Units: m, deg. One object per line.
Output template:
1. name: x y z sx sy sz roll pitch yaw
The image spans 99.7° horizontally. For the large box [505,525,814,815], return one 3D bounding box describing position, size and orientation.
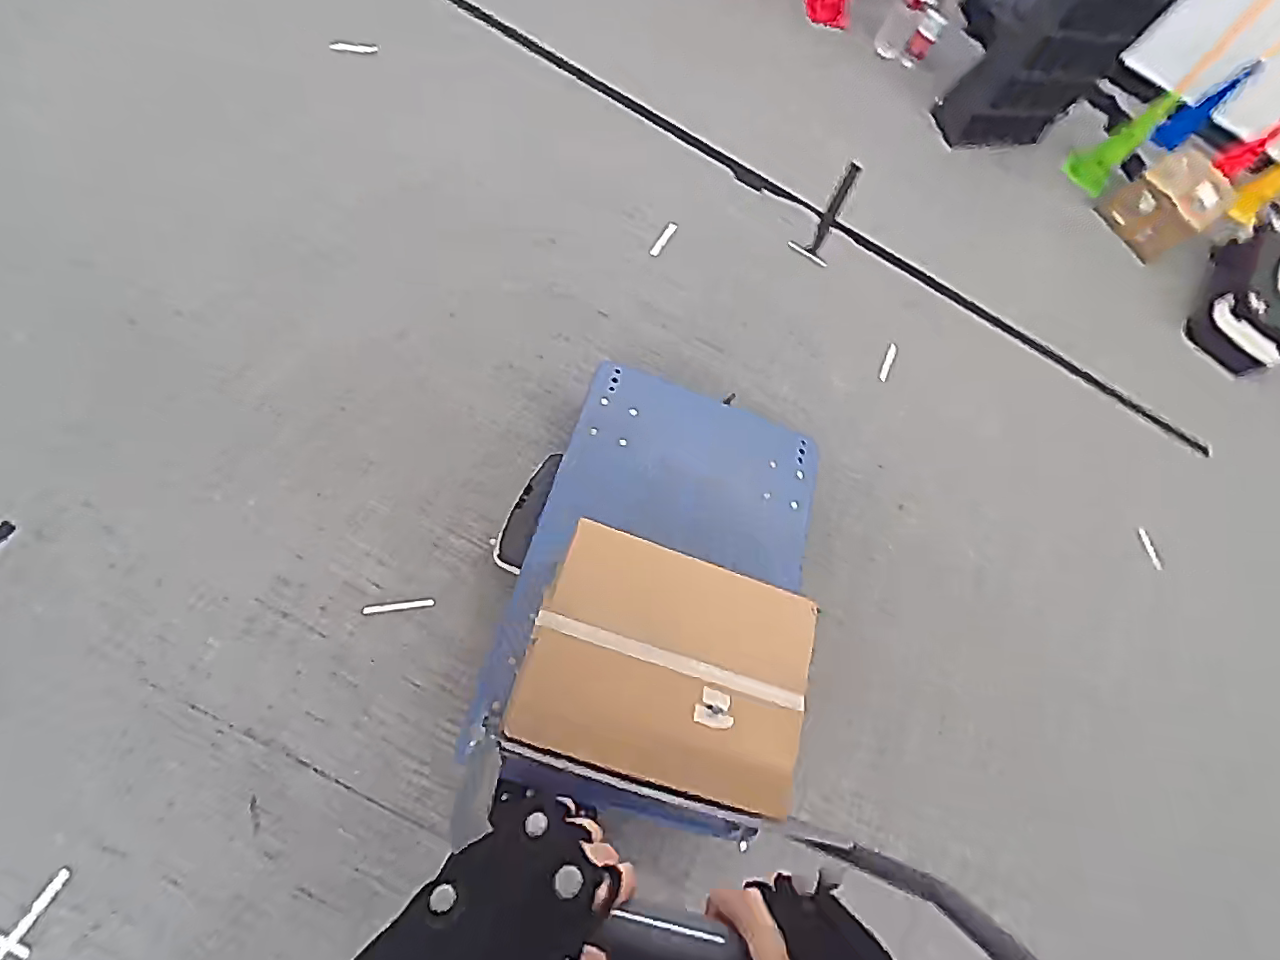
1. large box: 0.018 0.316 0.915 0.408 0.320 0.320 21 67 -7
